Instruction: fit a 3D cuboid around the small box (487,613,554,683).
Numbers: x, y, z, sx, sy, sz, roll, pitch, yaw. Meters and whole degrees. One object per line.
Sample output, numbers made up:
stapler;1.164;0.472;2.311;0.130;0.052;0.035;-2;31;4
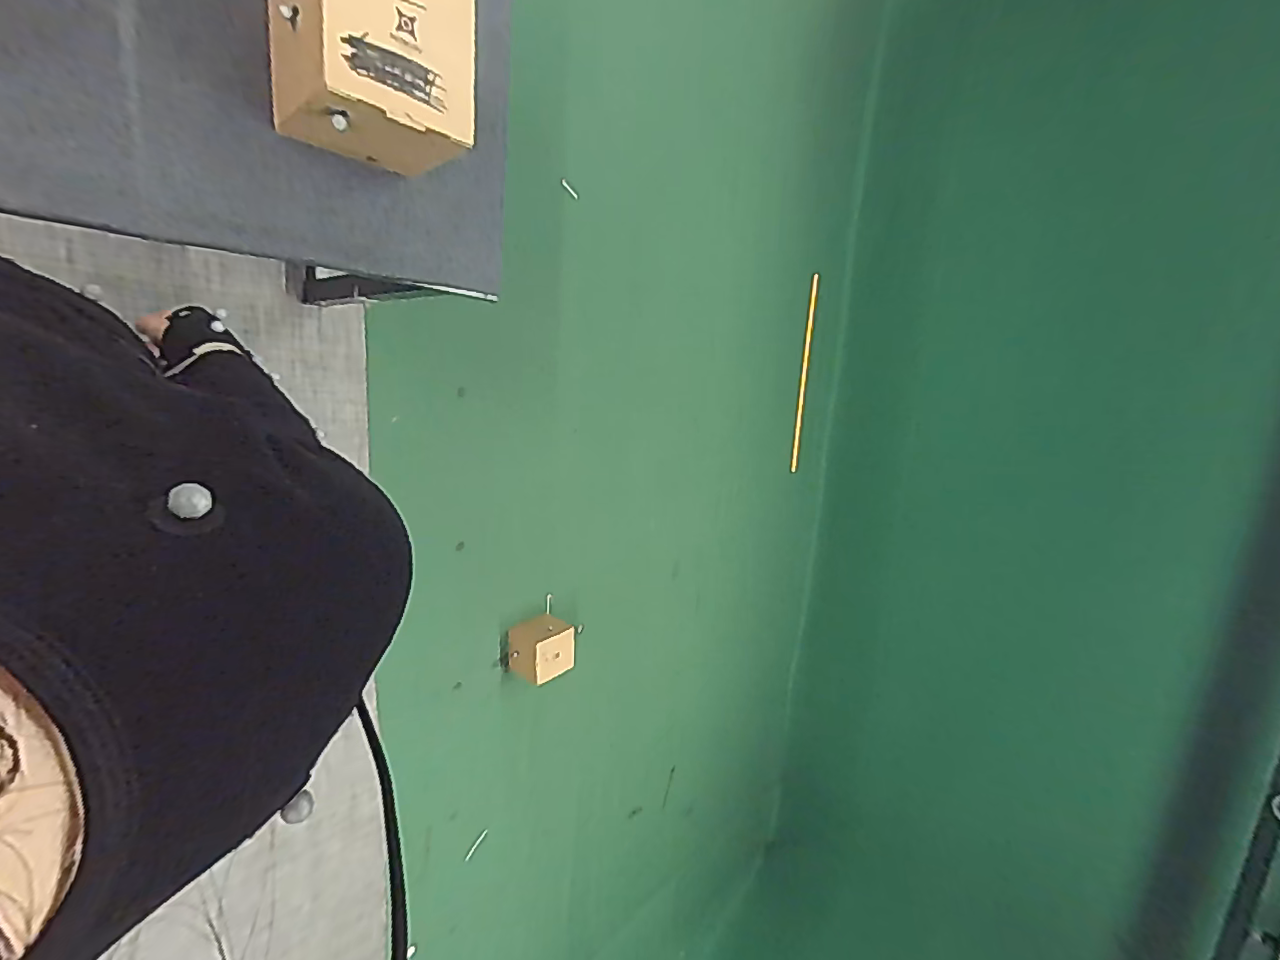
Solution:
small box;-0.438;0.608;1.986;0.179;0.176;0.168;-12;110;-49
